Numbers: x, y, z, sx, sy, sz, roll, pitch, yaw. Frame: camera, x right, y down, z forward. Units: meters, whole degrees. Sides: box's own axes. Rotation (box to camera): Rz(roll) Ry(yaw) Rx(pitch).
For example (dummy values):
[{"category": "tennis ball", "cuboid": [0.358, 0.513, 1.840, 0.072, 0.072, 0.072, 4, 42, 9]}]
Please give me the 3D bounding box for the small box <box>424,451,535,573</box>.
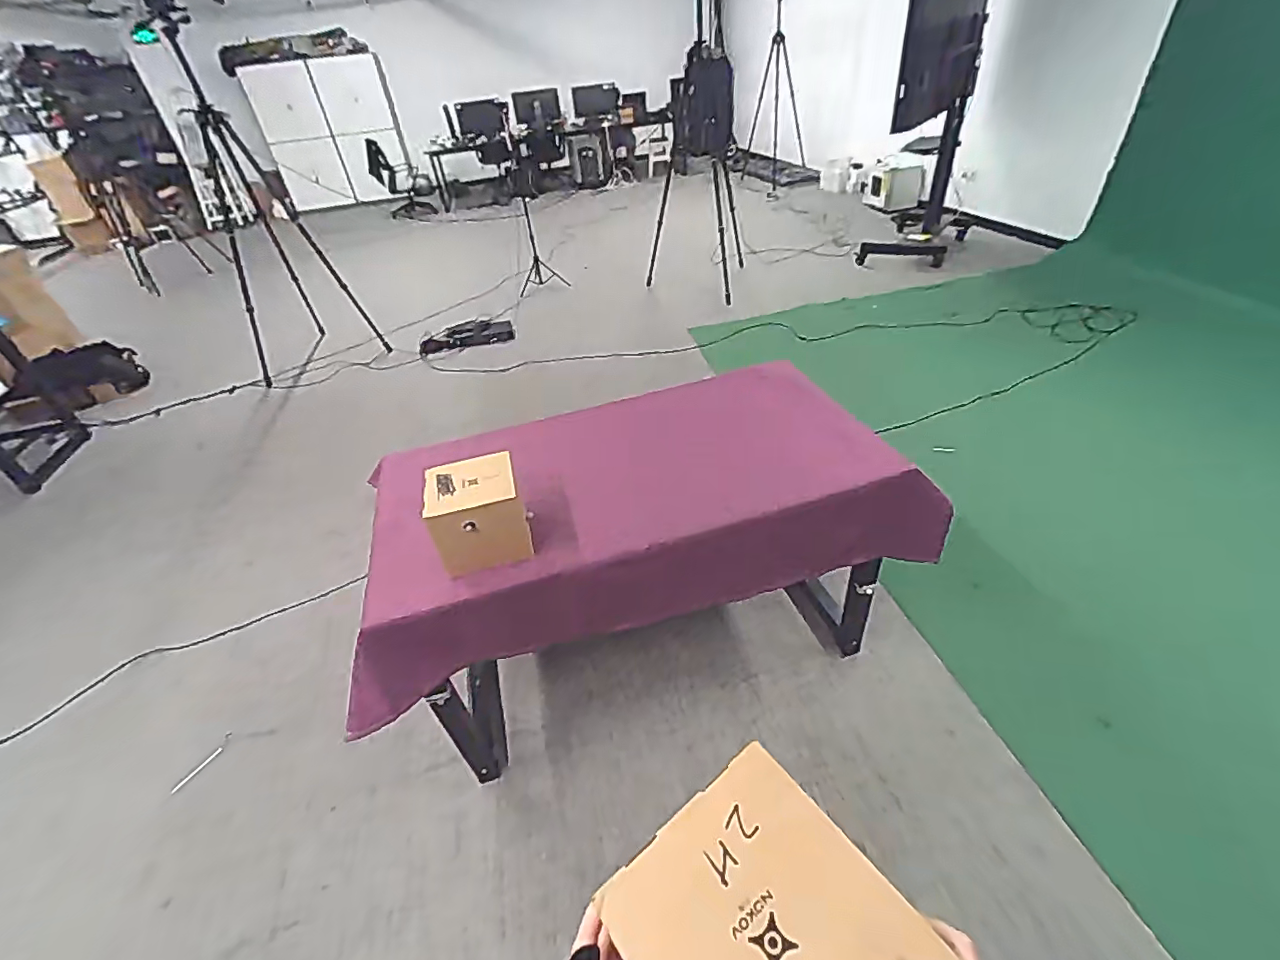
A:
[{"category": "small box", "cuboid": [-0.329, 0.068, 1.120, 0.179, 0.176, 0.168, -13, 39, -9]}]
